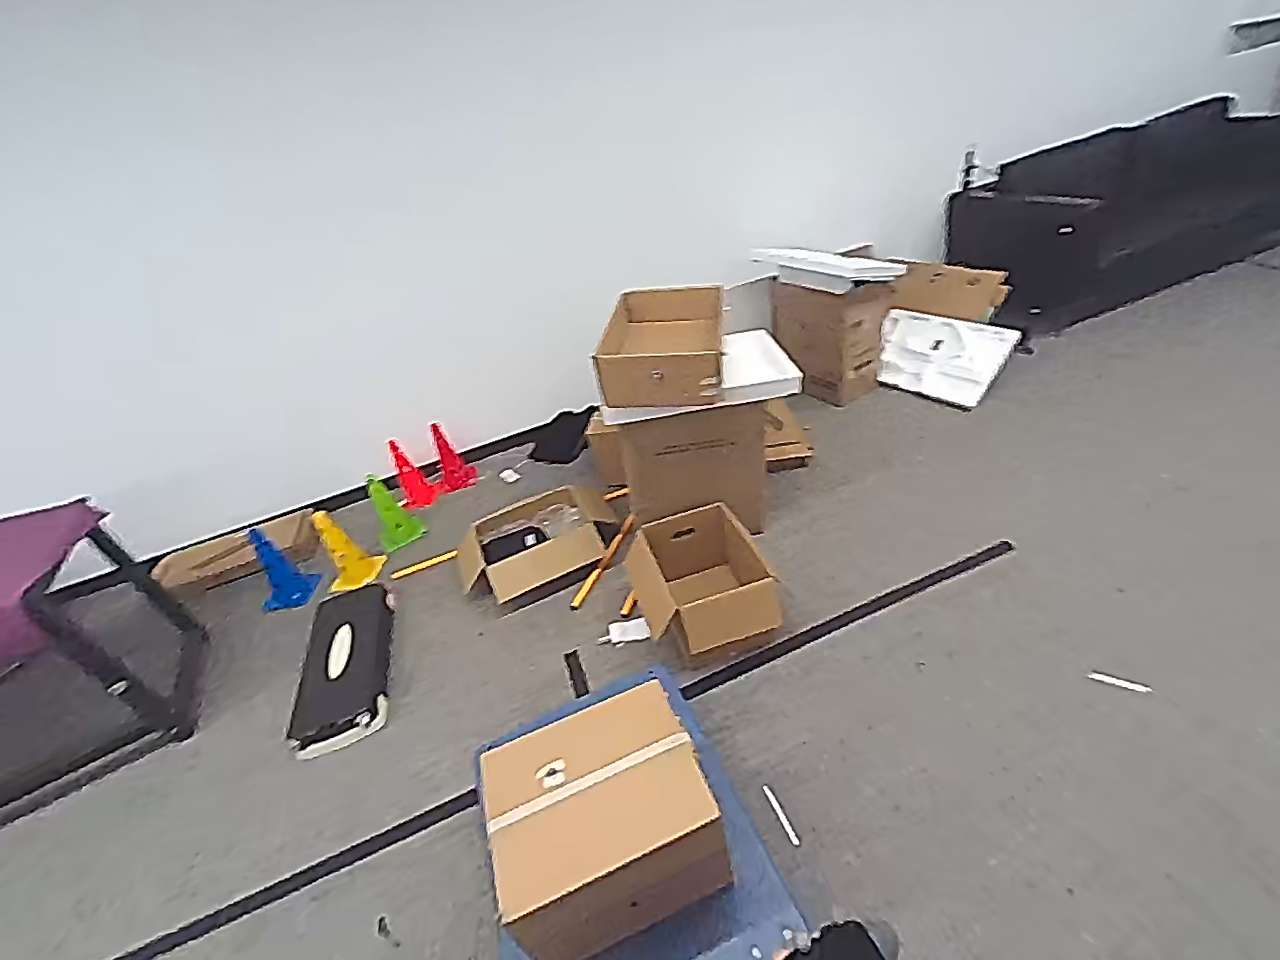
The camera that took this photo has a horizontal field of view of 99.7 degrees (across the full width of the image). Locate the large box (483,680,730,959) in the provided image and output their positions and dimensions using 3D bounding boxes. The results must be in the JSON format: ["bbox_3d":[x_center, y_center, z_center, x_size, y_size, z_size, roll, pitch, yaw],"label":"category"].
[{"bbox_3d":[-0.066,0.708,1.137,0.408,0.320,0.320,-21,35,-11],"label":"large box"}]
